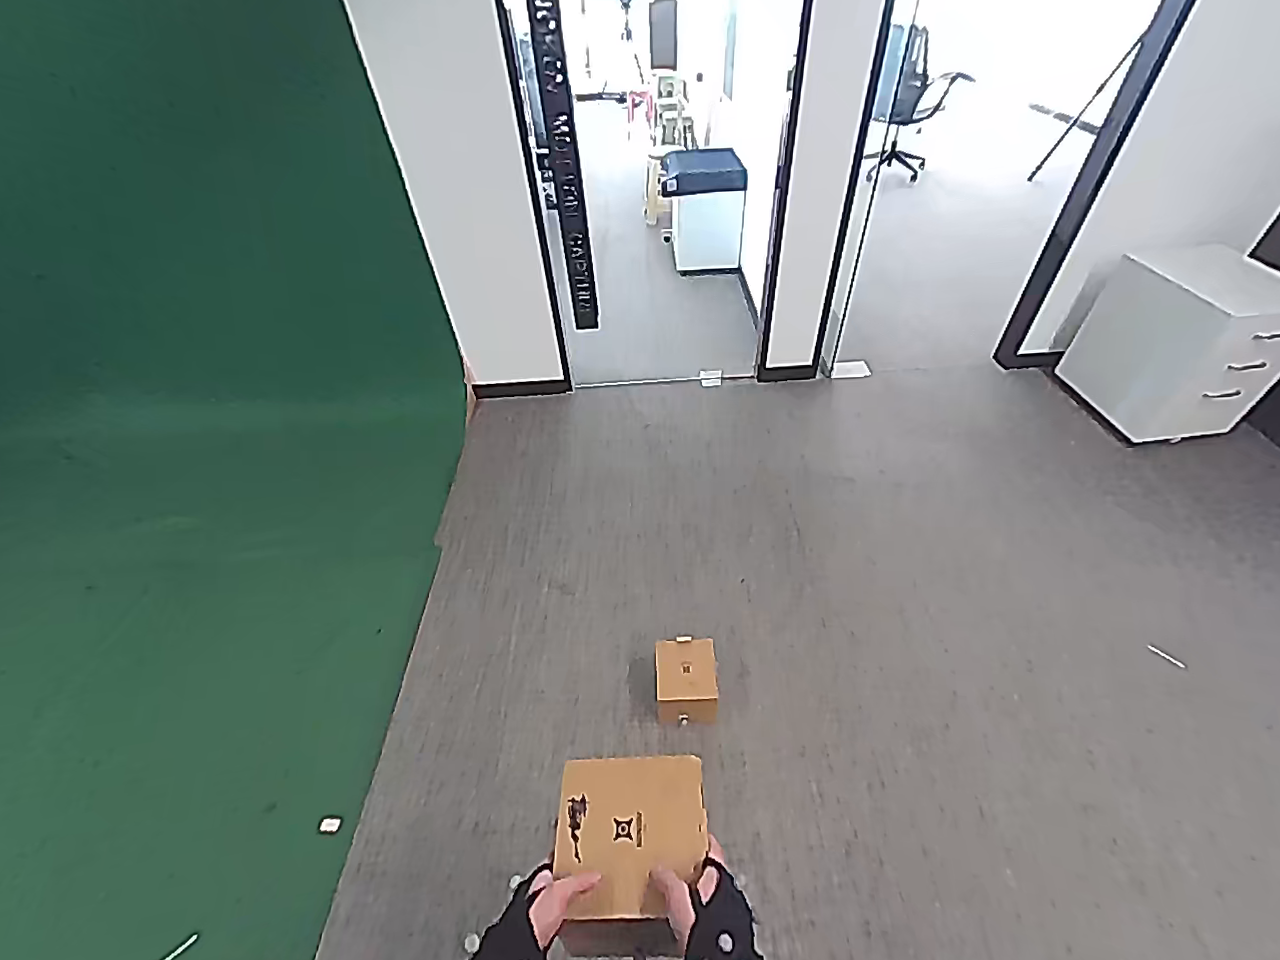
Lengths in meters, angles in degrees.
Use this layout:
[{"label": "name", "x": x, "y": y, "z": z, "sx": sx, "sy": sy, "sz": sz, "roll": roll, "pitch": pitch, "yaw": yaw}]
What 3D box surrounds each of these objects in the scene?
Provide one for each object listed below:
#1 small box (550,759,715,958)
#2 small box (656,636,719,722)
[{"label": "small box", "x": -0.003, "y": 0.469, "z": 0.674, "sx": 0.179, "sy": 0.176, "sz": 0.168, "roll": -3, "pitch": 38, "yaw": 3}, {"label": "small box", "x": 0.133, "y": 0.561, "z": 1.525, "sx": 0.168, "sy": 0.176, "sz": 0.179, "roll": -2, "pitch": 45, "yaw": 5}]
